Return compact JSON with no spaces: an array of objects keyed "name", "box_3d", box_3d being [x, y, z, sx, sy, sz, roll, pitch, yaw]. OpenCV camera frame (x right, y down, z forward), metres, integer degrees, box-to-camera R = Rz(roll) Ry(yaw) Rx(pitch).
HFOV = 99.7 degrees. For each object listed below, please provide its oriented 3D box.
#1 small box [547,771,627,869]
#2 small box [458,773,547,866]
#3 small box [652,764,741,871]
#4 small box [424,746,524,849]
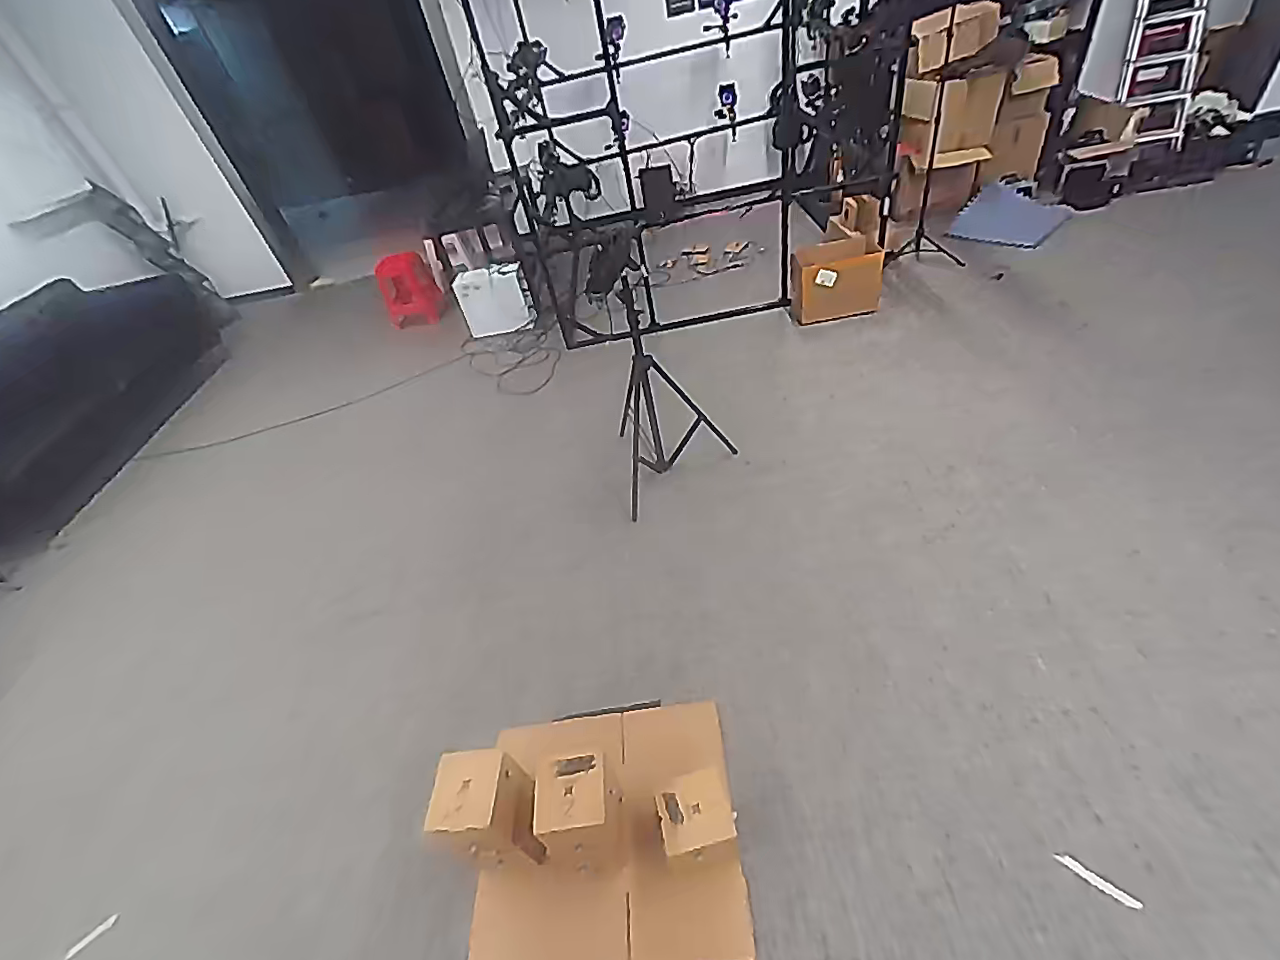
[{"name":"small box","box_3d":[-0.130,0.881,1.401,0.168,0.176,0.179,-7,42,7]},{"name":"small box","box_3d":[-0.356,0.906,1.435,0.168,0.176,0.179,-9,43,7]},{"name":"small box","box_3d":[0.144,0.851,1.357,0.179,0.176,0.168,-16,42,-2]},{"name":"small box","box_3d":[-0.397,0.783,1.332,0.168,0.176,0.179,-8,42,8]}]
